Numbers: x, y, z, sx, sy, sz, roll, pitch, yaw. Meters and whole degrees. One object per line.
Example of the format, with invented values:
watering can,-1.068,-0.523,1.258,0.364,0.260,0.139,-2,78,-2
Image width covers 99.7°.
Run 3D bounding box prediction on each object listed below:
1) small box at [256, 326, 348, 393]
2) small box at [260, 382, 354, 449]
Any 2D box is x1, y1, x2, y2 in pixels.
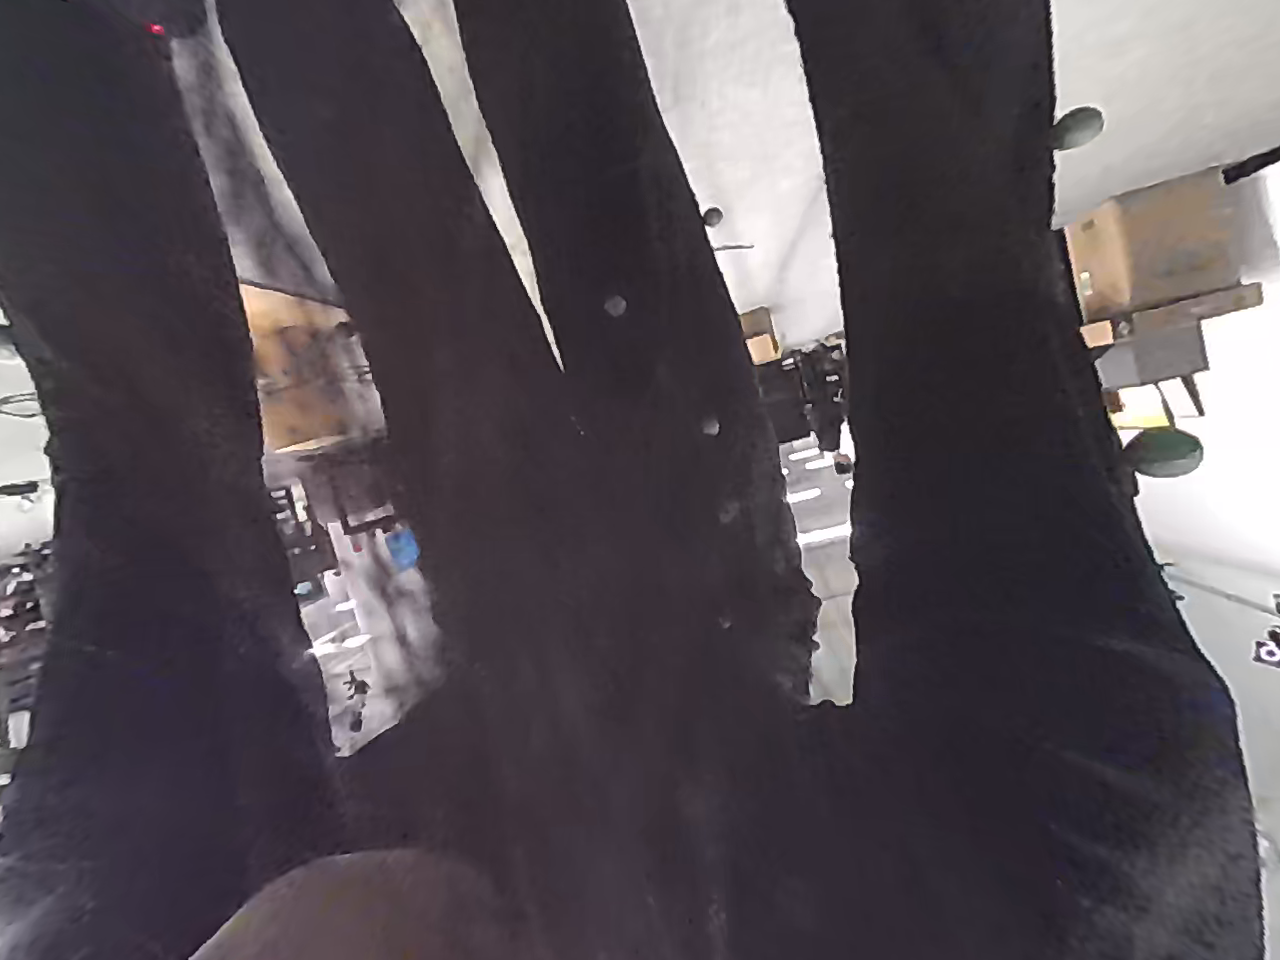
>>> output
small box,-1.053,-0.365,1.667,0.179,0.176,0.168,-14,-175,13
small box,-1.039,-0.201,1.682,0.179,0.176,0.168,-14,-175,11
